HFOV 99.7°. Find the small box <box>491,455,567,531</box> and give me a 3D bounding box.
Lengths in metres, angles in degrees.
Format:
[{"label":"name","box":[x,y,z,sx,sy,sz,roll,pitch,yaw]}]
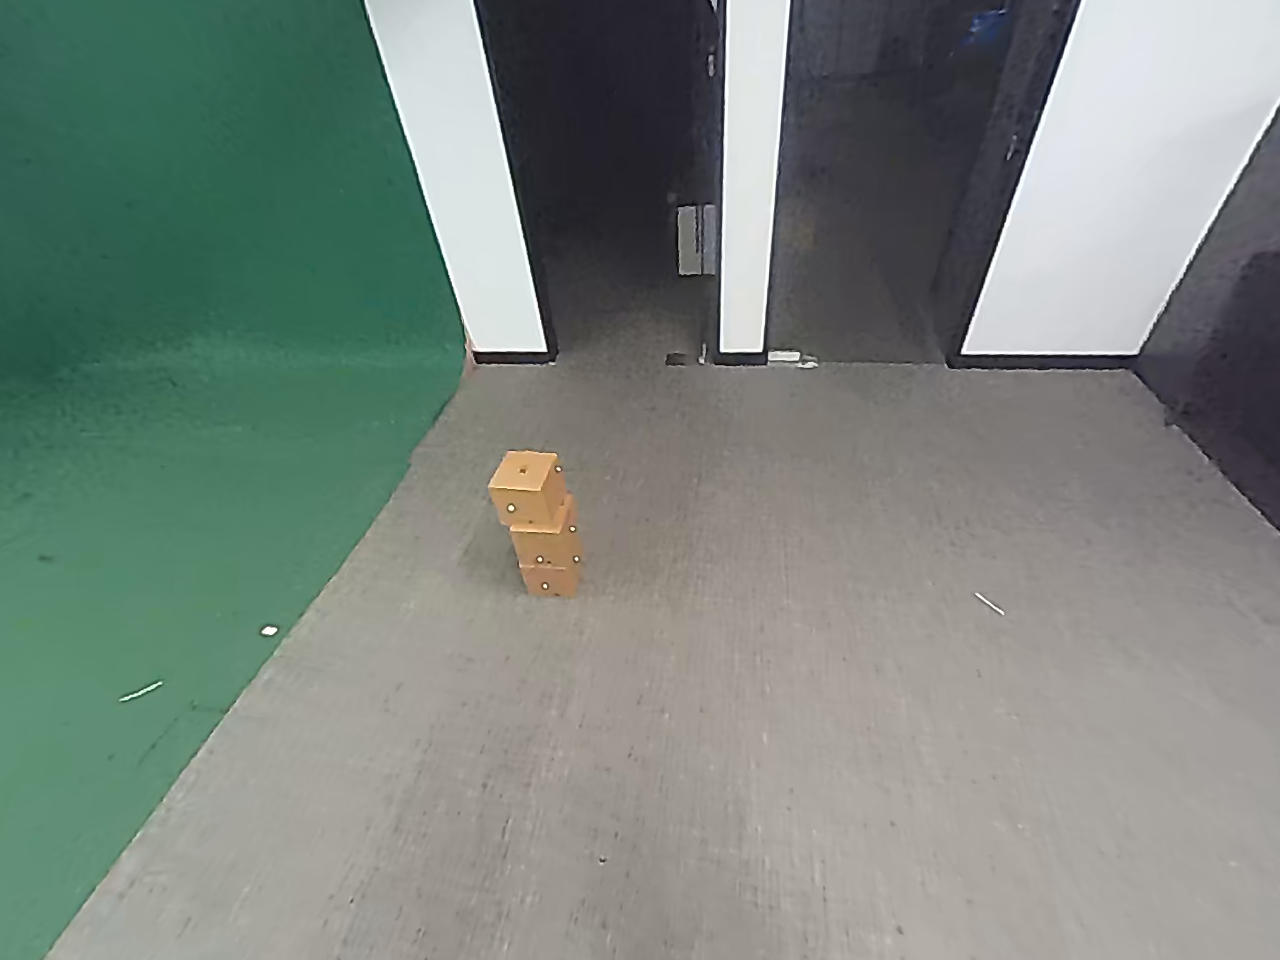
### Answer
[{"label":"small box","box":[-0.337,0.042,1.687,0.168,0.176,0.179,4,42,12]}]
